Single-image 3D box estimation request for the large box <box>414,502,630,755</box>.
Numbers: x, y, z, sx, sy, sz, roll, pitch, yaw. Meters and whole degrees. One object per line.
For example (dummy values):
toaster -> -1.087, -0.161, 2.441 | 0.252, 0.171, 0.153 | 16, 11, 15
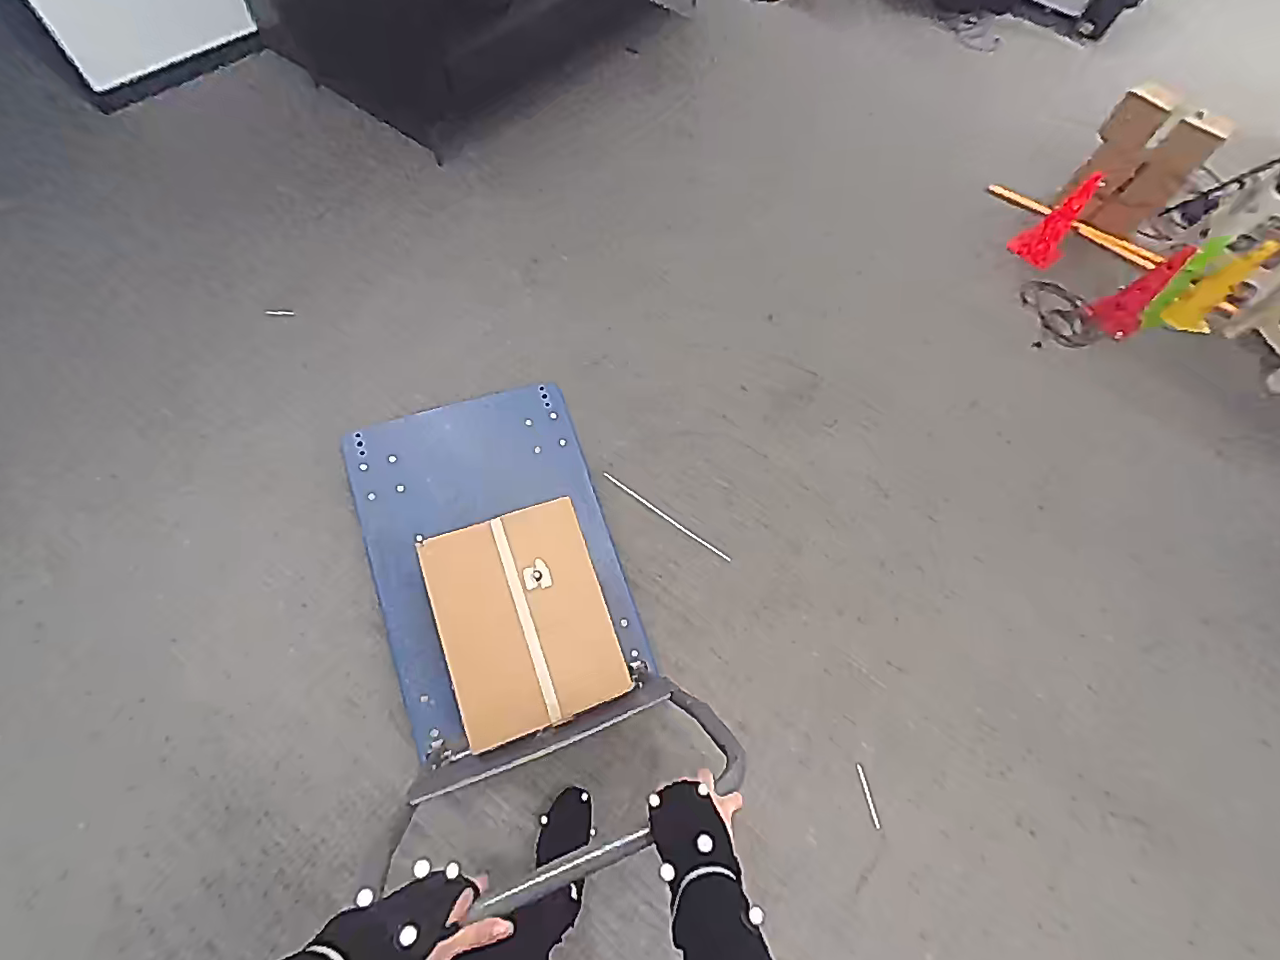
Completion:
large box -> -0.251, 0.312, 1.184 | 0.320, 0.320, 0.408 | -18, 78, -16
